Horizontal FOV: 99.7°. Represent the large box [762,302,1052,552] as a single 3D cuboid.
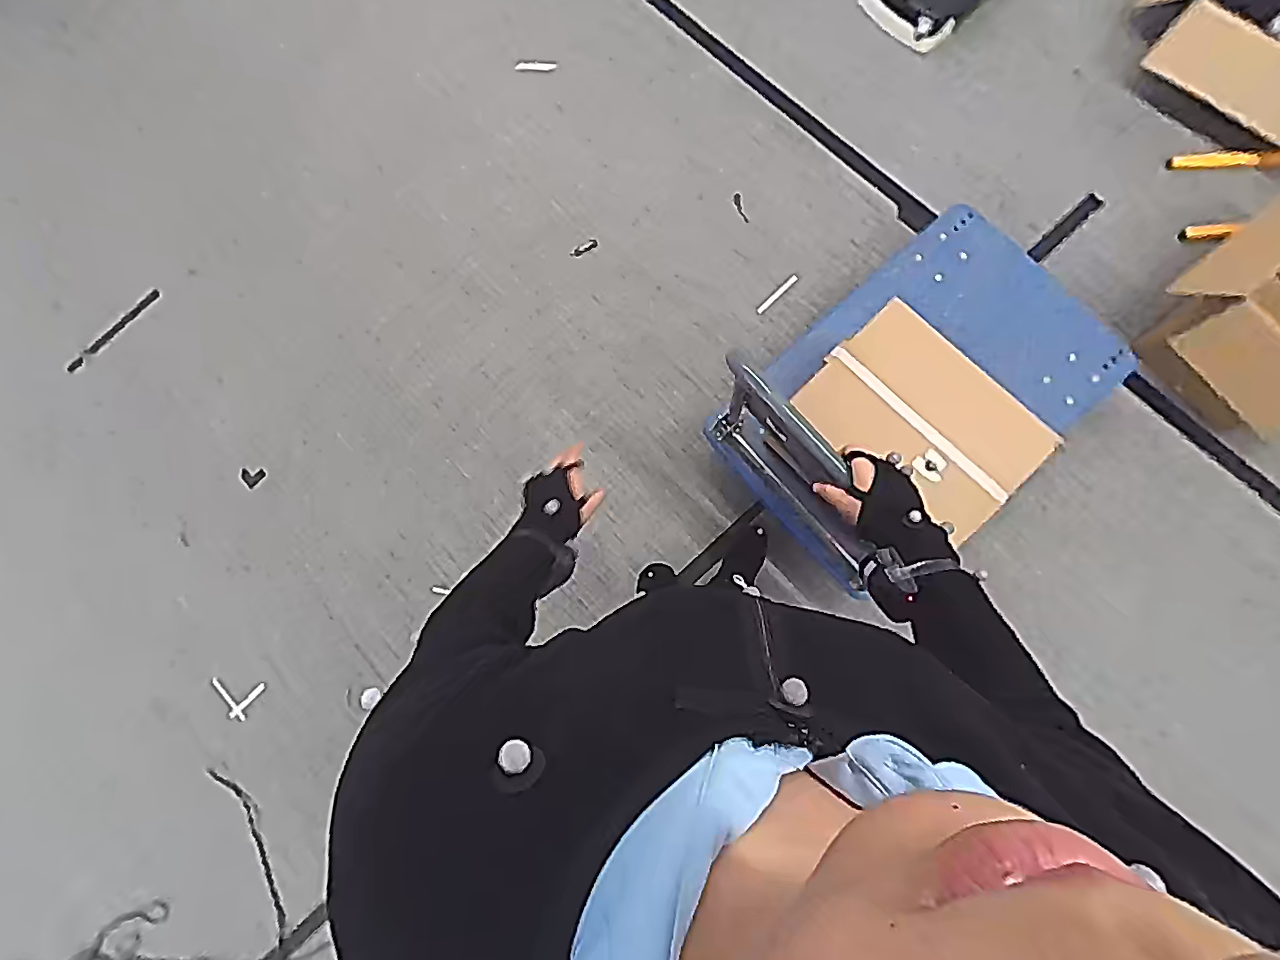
[{"bbox_3d":[0.530,-0.094,1.171,0.320,0.320,0.408,-45,83,0],"label":"large box"}]
